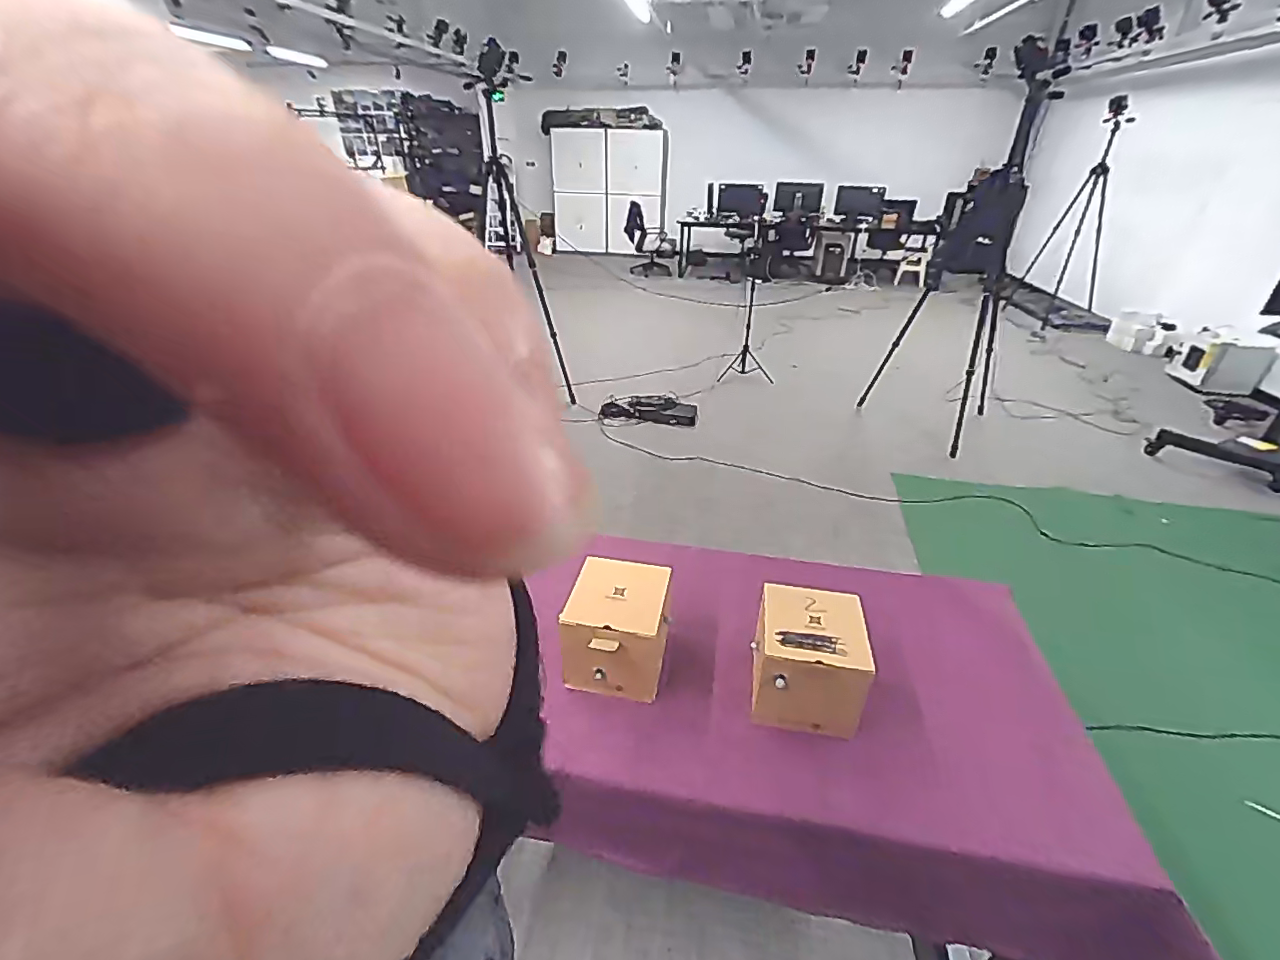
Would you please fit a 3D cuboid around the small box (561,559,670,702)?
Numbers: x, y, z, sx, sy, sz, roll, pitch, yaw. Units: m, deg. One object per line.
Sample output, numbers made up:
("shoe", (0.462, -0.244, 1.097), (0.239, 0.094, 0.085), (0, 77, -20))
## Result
("small box", (-0.042, 0.276, 1.007), (0.168, 0.176, 0.179), (7, 32, 9))
